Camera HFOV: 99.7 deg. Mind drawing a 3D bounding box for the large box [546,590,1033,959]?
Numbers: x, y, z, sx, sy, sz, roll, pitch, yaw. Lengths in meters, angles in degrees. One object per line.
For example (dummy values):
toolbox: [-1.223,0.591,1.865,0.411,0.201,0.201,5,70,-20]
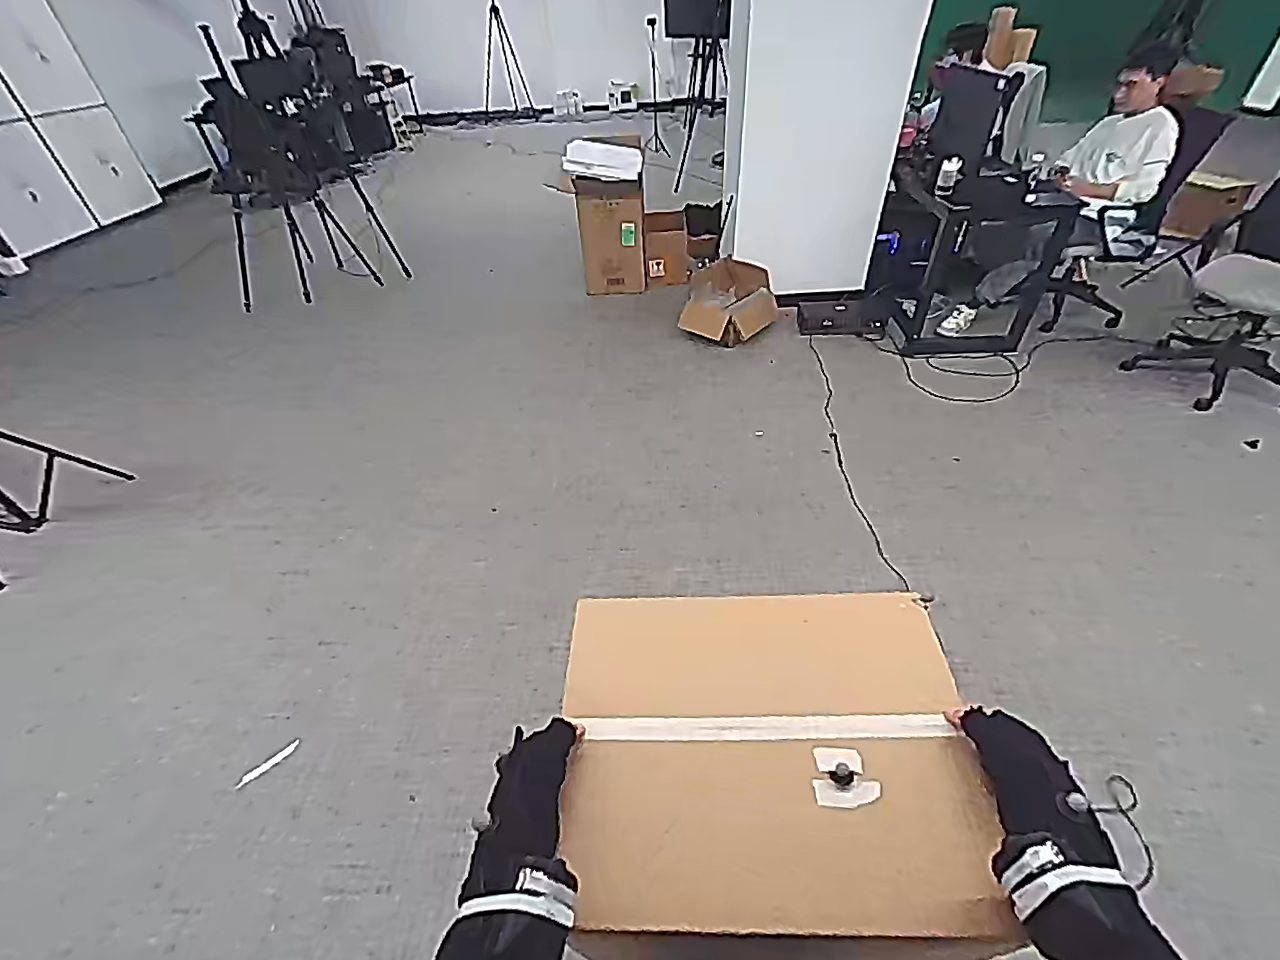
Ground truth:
large box: [0.128,0.351,0.647,0.408,0.320,0.320,-2,44,4]
